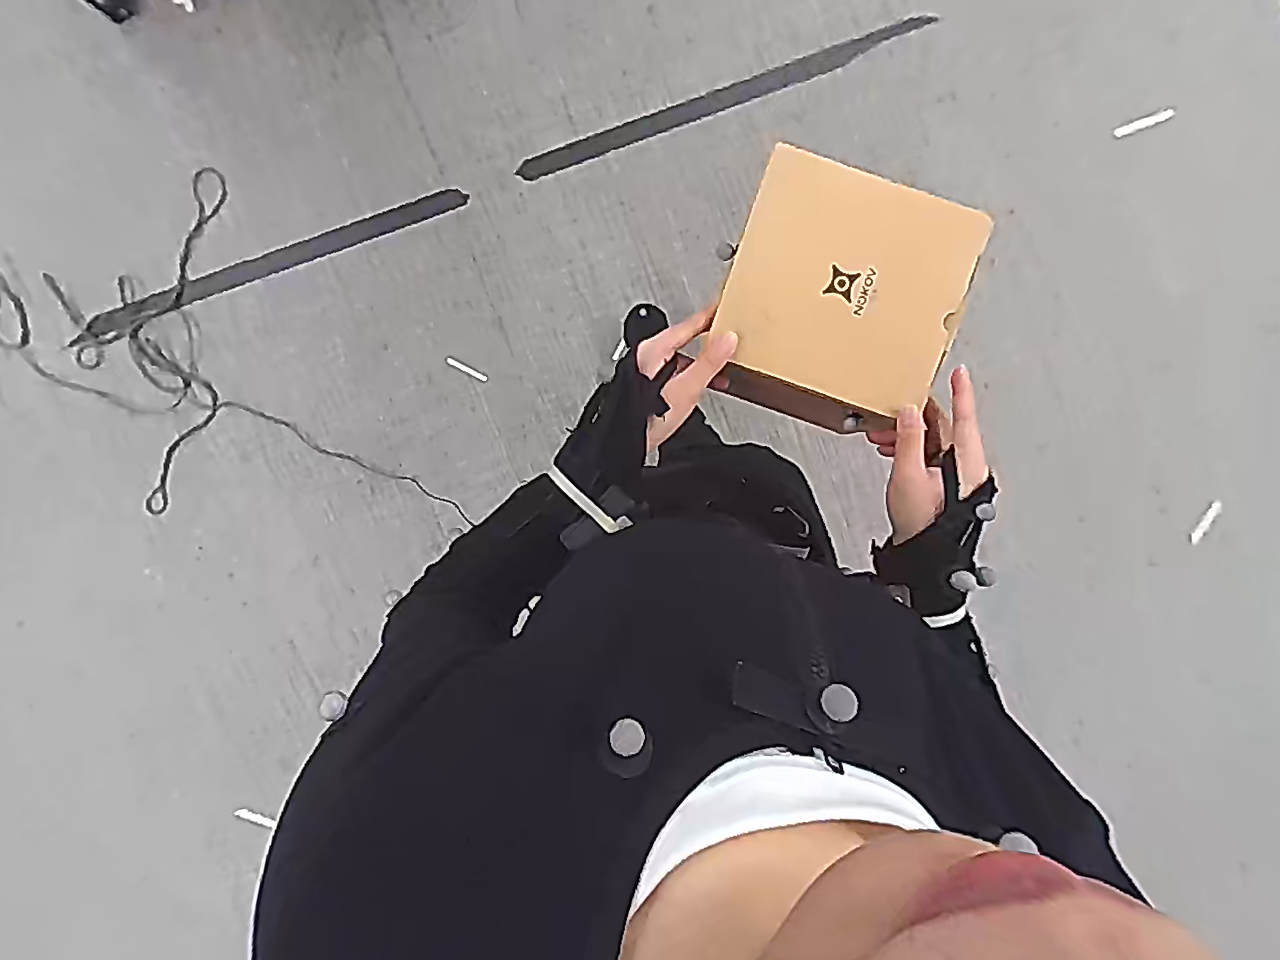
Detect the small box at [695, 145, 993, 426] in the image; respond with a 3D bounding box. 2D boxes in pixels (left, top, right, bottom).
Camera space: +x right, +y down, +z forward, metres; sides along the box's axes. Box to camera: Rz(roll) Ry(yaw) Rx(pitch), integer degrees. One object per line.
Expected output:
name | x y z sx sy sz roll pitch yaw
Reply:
small box | 0.157 -0.151 0.485 0.179 0.176 0.168 19 93 0
